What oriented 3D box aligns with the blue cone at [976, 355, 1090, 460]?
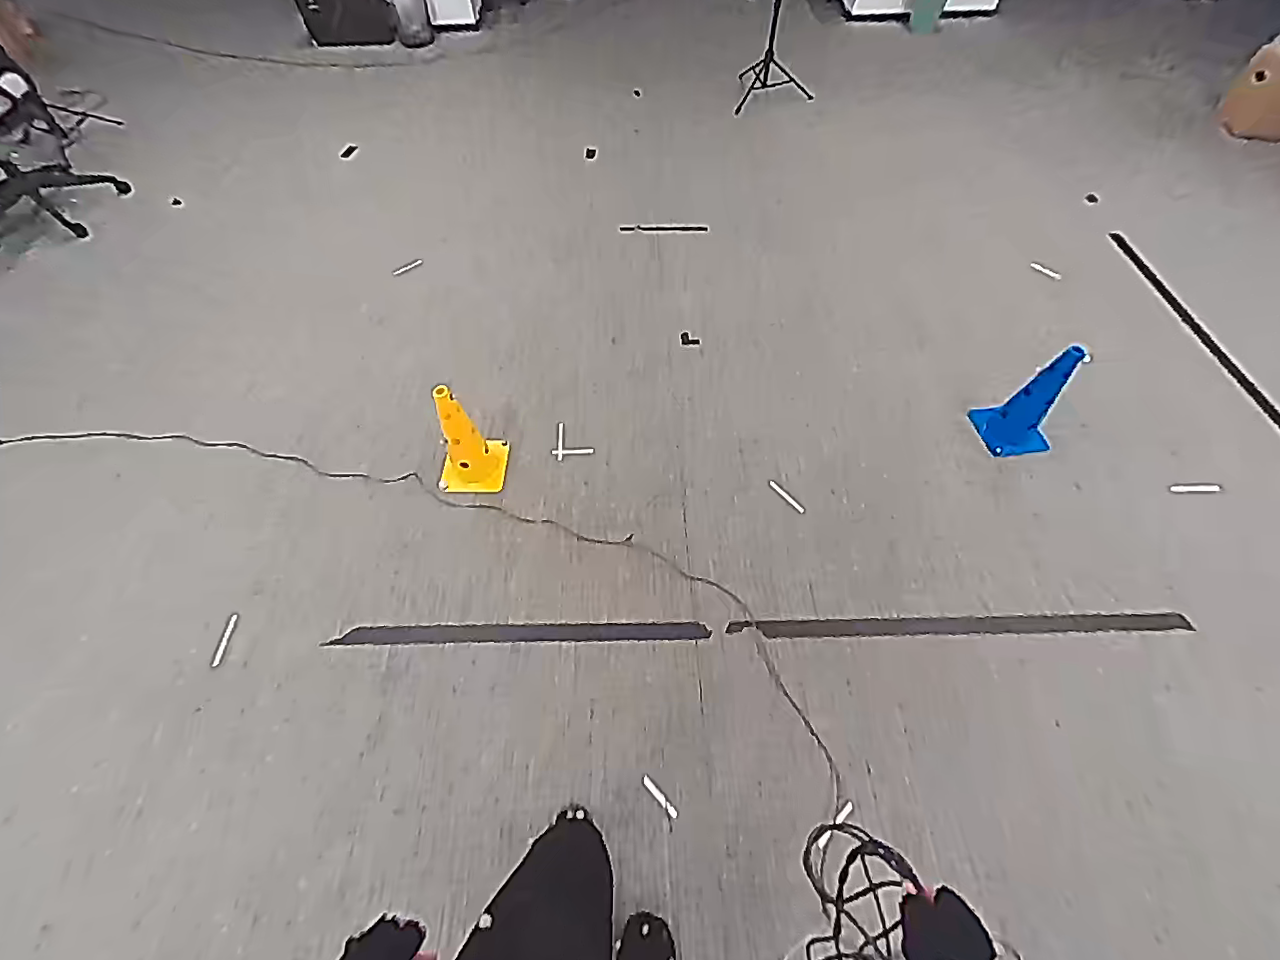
[{"bbox_3d":[1.231,-0.240,1.656,0.193,0.380,0.192,-5,57,-3],"label":"blue cone"}]
